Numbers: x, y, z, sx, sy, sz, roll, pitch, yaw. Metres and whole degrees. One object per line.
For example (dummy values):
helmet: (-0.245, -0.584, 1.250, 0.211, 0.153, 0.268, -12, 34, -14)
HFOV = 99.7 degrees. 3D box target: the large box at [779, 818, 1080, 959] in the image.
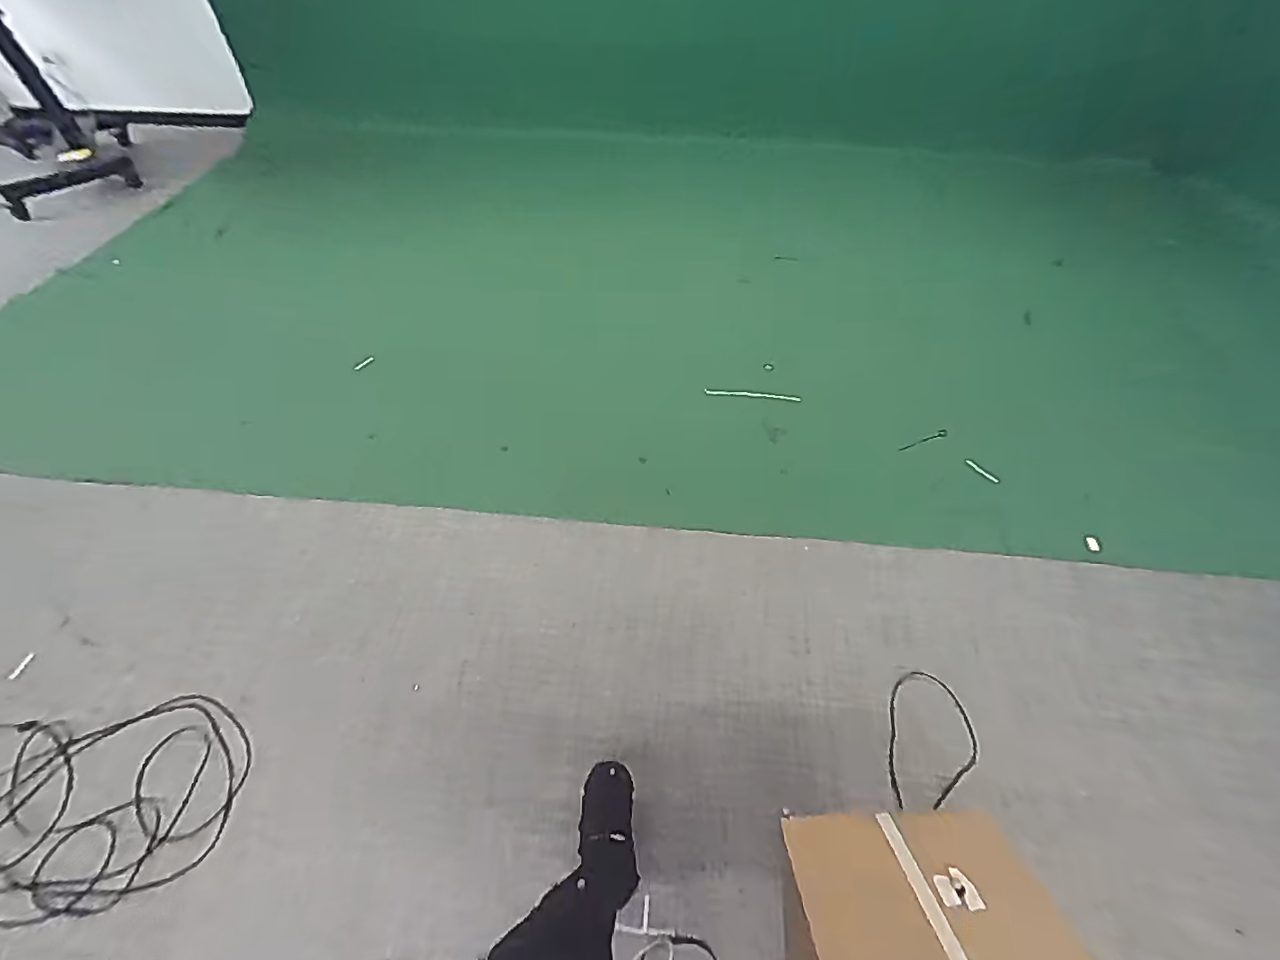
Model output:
large box: (0.379, 0.720, 0.680, 0.320, 0.320, 0.408, -3, 9, 2)
